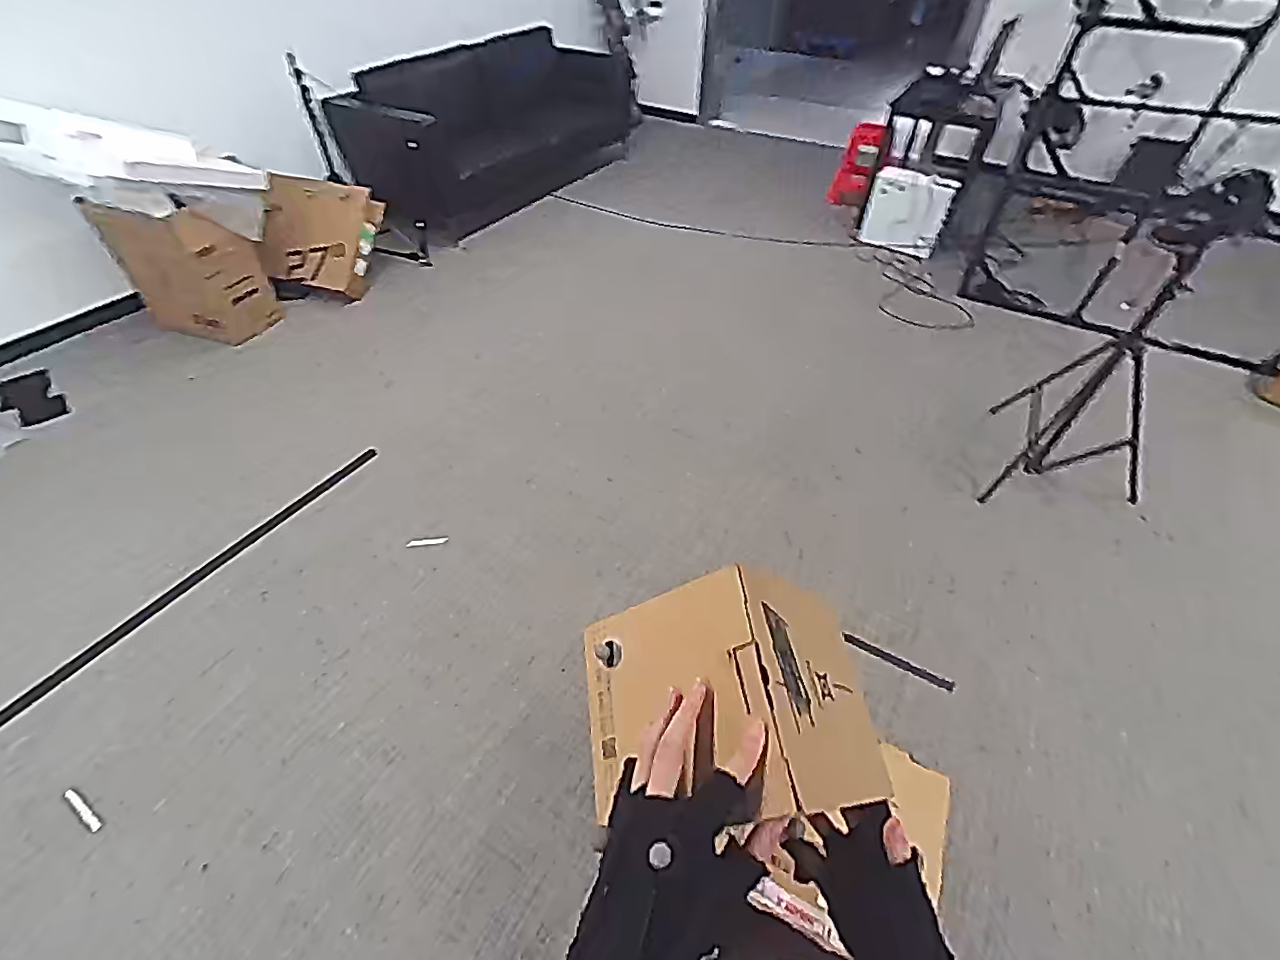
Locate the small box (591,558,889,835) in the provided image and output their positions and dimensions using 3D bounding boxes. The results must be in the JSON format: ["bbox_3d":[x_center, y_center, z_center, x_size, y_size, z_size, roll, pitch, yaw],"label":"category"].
[{"bbox_3d":[0.072,0.187,0.457,0.176,0.179,0.168,-30,52,30],"label":"small box"}]

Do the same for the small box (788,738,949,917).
[{"bbox_3d":[0.340,0.514,0.820,0.168,0.176,0.179,22,48,17],"label":"small box"}]
